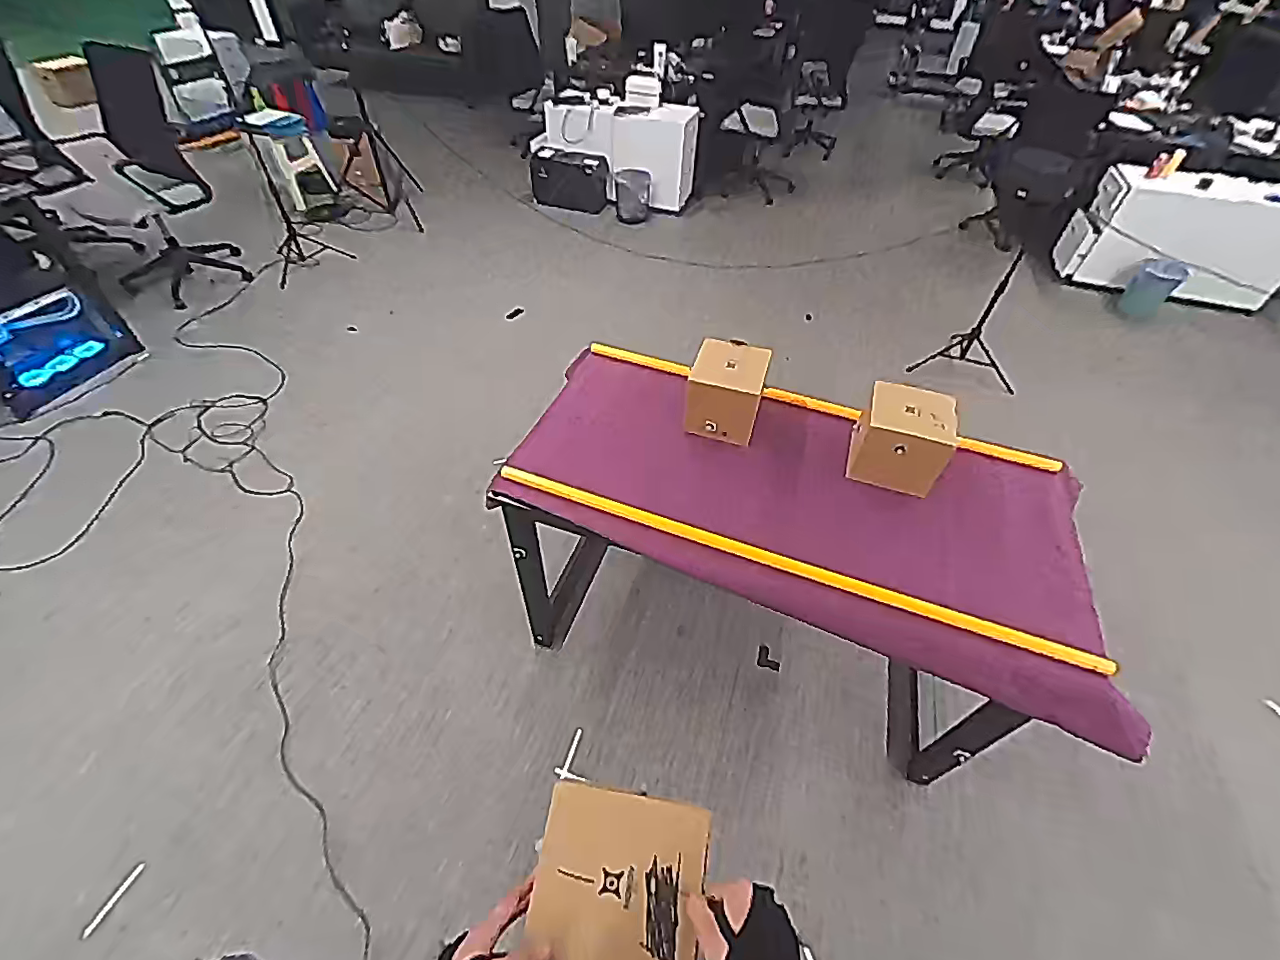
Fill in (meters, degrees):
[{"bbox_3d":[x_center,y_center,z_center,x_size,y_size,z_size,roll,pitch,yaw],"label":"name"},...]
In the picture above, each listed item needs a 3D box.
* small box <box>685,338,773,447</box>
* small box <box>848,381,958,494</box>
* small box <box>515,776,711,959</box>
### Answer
[{"bbox_3d":[0.210,-0.211,1.304,0.168,0.176,0.179,14,50,11],"label":"small box"},{"bbox_3d":[0.582,-0.092,1.211,0.179,0.176,0.168,16,51,12],"label":"small box"},{"bbox_3d":[-0.025,0.447,0.623,0.179,0.176,0.168,9,61,3],"label":"small box"}]
